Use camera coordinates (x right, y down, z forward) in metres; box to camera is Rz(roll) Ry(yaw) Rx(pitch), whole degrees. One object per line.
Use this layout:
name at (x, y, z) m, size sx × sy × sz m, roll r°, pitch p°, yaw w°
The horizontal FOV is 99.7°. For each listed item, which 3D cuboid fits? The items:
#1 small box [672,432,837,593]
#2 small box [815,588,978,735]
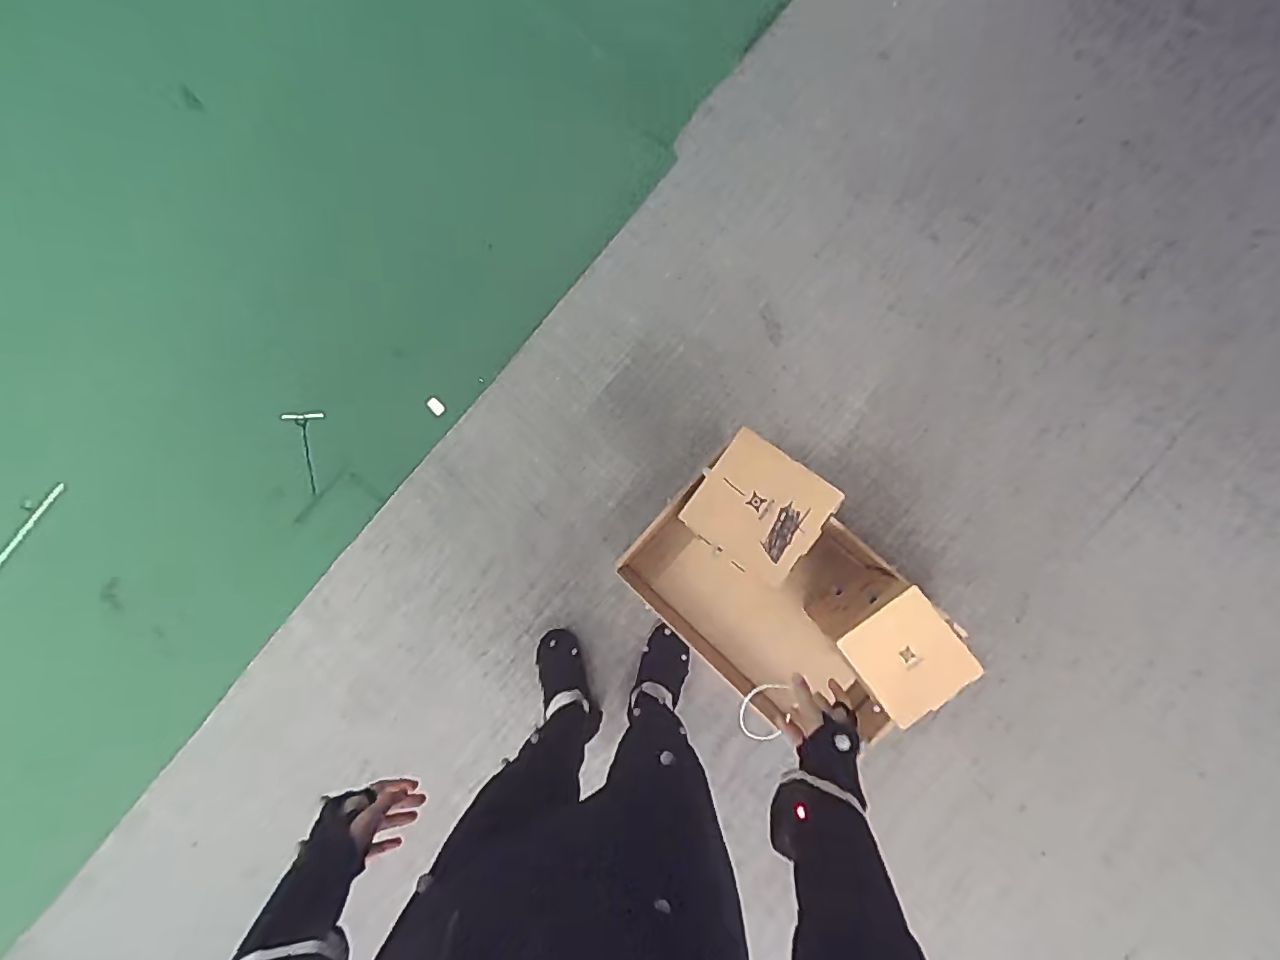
small box at (0.172, 0.051, 0.845) m, size 0.179 × 0.176 × 0.168 m, roll 37°, pitch 90°, yaw 11°
small box at (0.437, 0.306, 0.958) m, size 0.168 × 0.176 × 0.179 m, roll -37°, pitch 82°, yaw 3°
